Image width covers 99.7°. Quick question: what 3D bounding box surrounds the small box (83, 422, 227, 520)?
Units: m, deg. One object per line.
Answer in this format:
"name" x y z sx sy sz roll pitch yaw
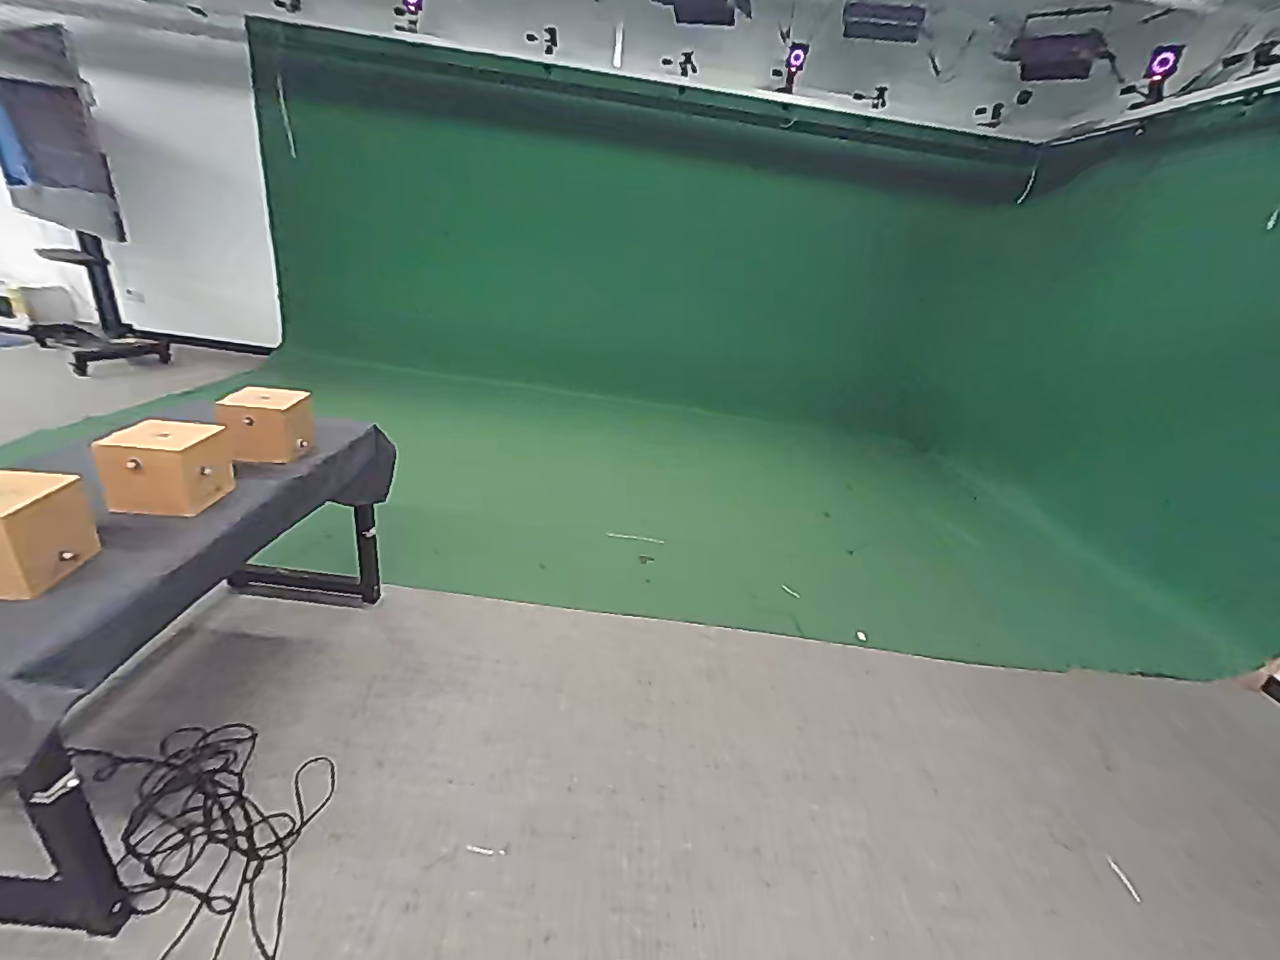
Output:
"small box" -1.100 -0.020 1.246 0.179 0.176 0.168 5 24 -7

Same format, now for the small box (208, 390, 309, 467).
"small box" -1.080 -0.147 1.545 0.179 0.176 0.168 5 25 -9
